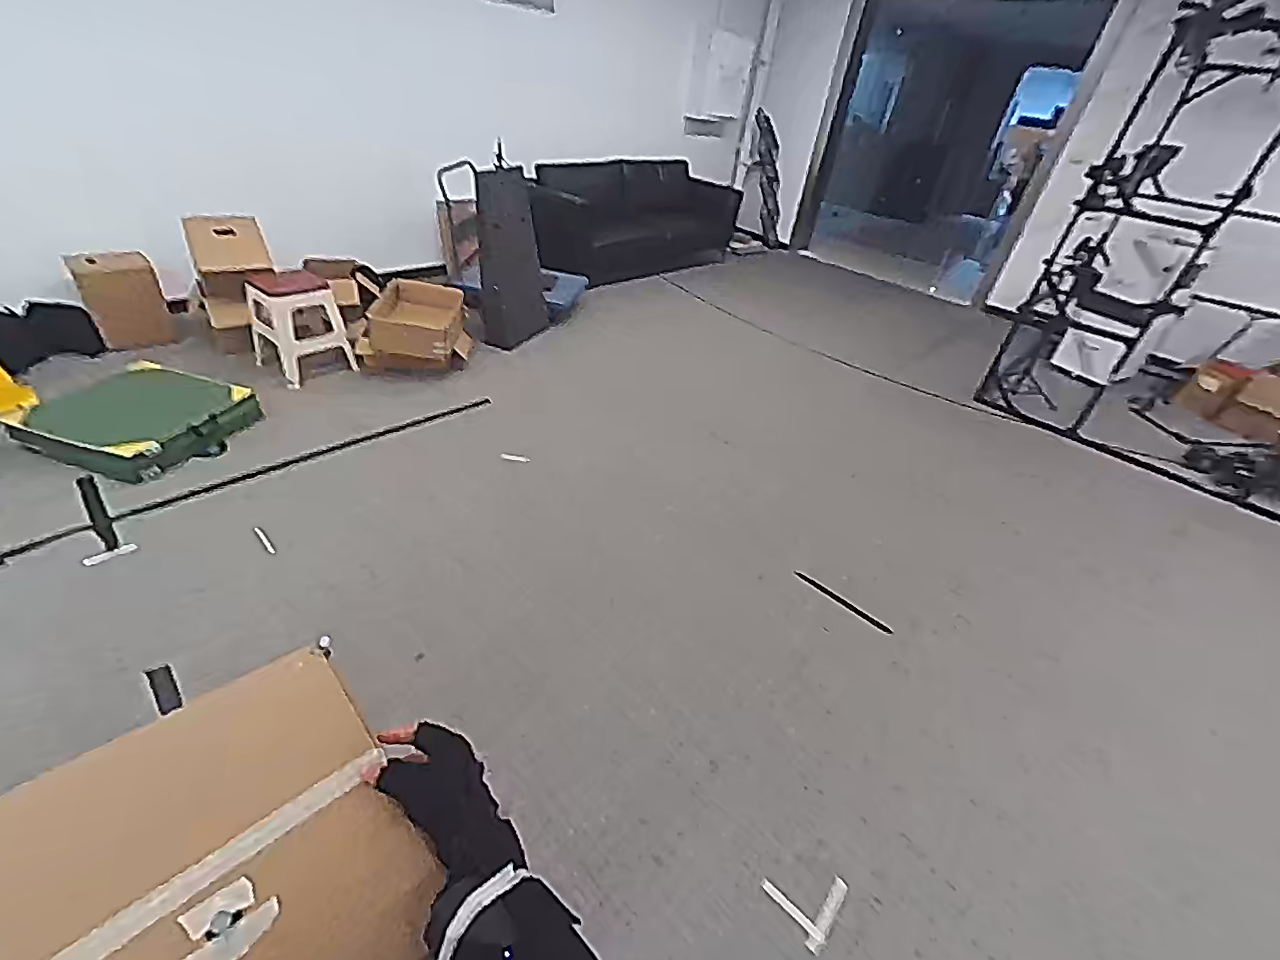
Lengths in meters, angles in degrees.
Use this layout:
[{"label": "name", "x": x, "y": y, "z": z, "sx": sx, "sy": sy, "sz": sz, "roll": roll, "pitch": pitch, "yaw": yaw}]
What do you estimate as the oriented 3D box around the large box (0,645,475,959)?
[{"label": "large box", "x": -0.405, "y": 0.444, "z": 0.486, "sx": 0.408, "sy": 0.320, "sz": 0.320, "roll": -25, "pitch": 53, "yaw": -39}]
